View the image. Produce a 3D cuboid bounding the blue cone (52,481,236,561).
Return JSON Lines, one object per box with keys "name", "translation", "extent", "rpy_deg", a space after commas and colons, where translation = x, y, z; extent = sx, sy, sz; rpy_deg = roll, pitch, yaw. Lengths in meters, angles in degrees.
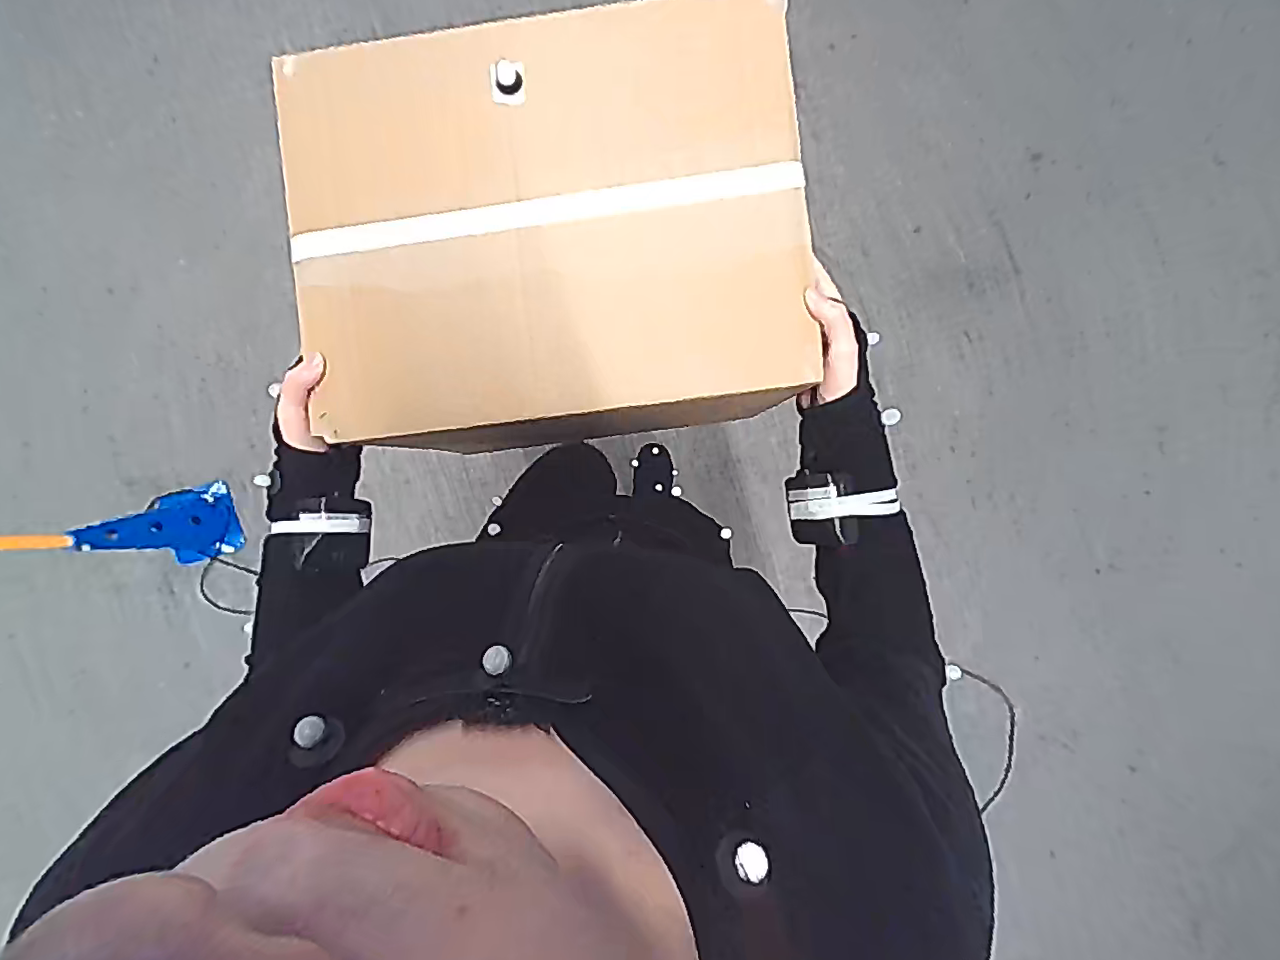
{"name": "blue cone", "translation": [-1.221, 0.116, 1.314], "extent": [0.192, 0.380, 0.193], "rpy_deg": [-19, 91, 0]}
